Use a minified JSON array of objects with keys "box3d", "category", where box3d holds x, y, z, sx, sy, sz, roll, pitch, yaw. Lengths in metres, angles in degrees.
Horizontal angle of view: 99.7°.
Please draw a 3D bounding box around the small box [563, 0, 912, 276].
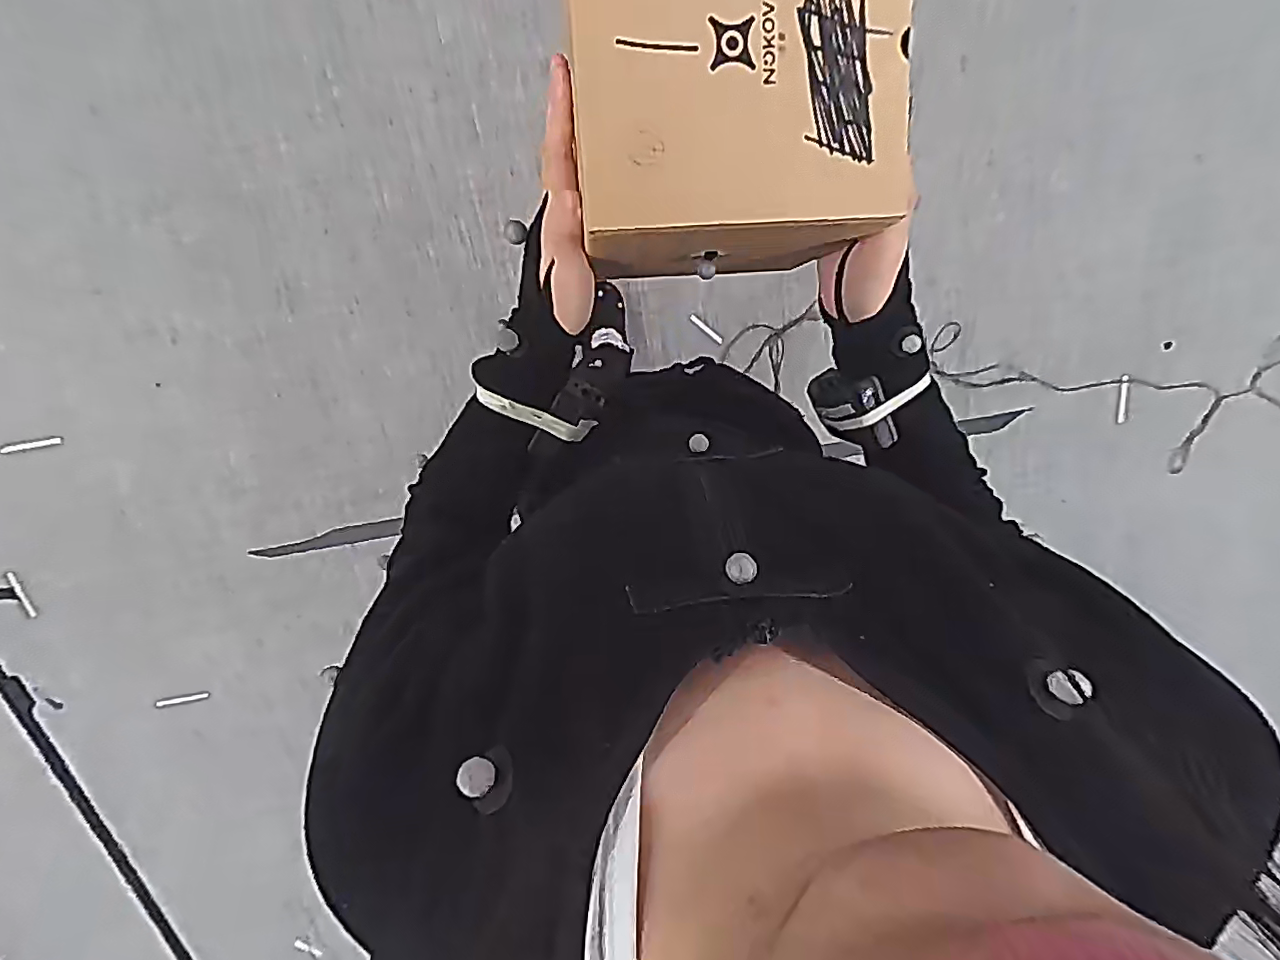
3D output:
[{"box3d":[0.043,-0.231,0.345,0.179,0.176,0.168,-5,102,-5],"category":"small box"}]
